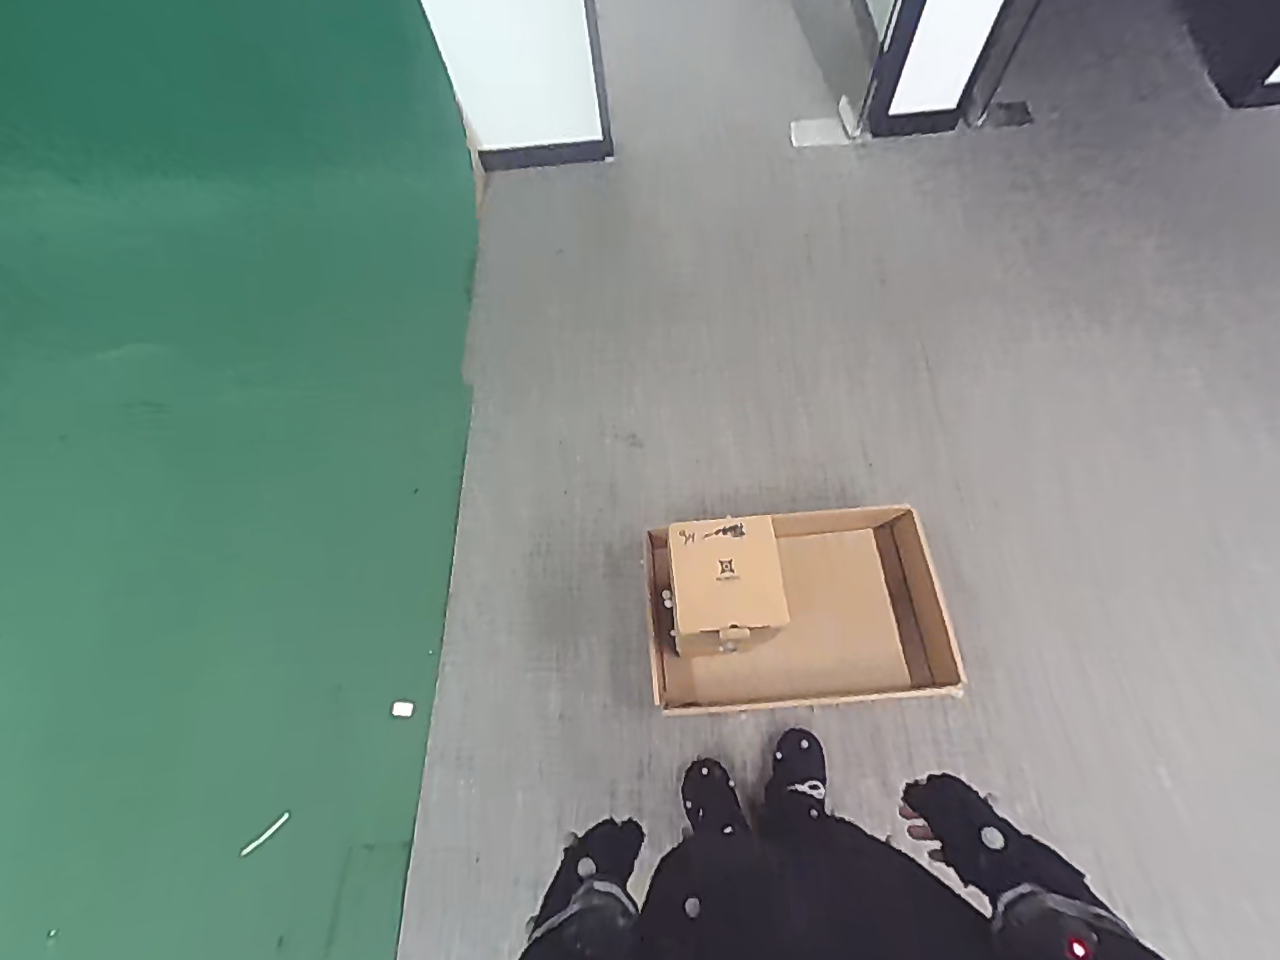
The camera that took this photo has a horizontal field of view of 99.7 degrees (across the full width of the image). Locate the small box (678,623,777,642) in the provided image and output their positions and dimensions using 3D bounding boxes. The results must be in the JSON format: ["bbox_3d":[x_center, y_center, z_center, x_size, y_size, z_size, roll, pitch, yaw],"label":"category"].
[{"bbox_3d":[0.158,0.223,1.062,0.179,0.176,0.168,-5,67,3],"label":"small box"}]

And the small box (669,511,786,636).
[{"bbox_3d":[0.139,0.165,0.911,0.168,0.176,0.179,-5,68,2],"label":"small box"}]
